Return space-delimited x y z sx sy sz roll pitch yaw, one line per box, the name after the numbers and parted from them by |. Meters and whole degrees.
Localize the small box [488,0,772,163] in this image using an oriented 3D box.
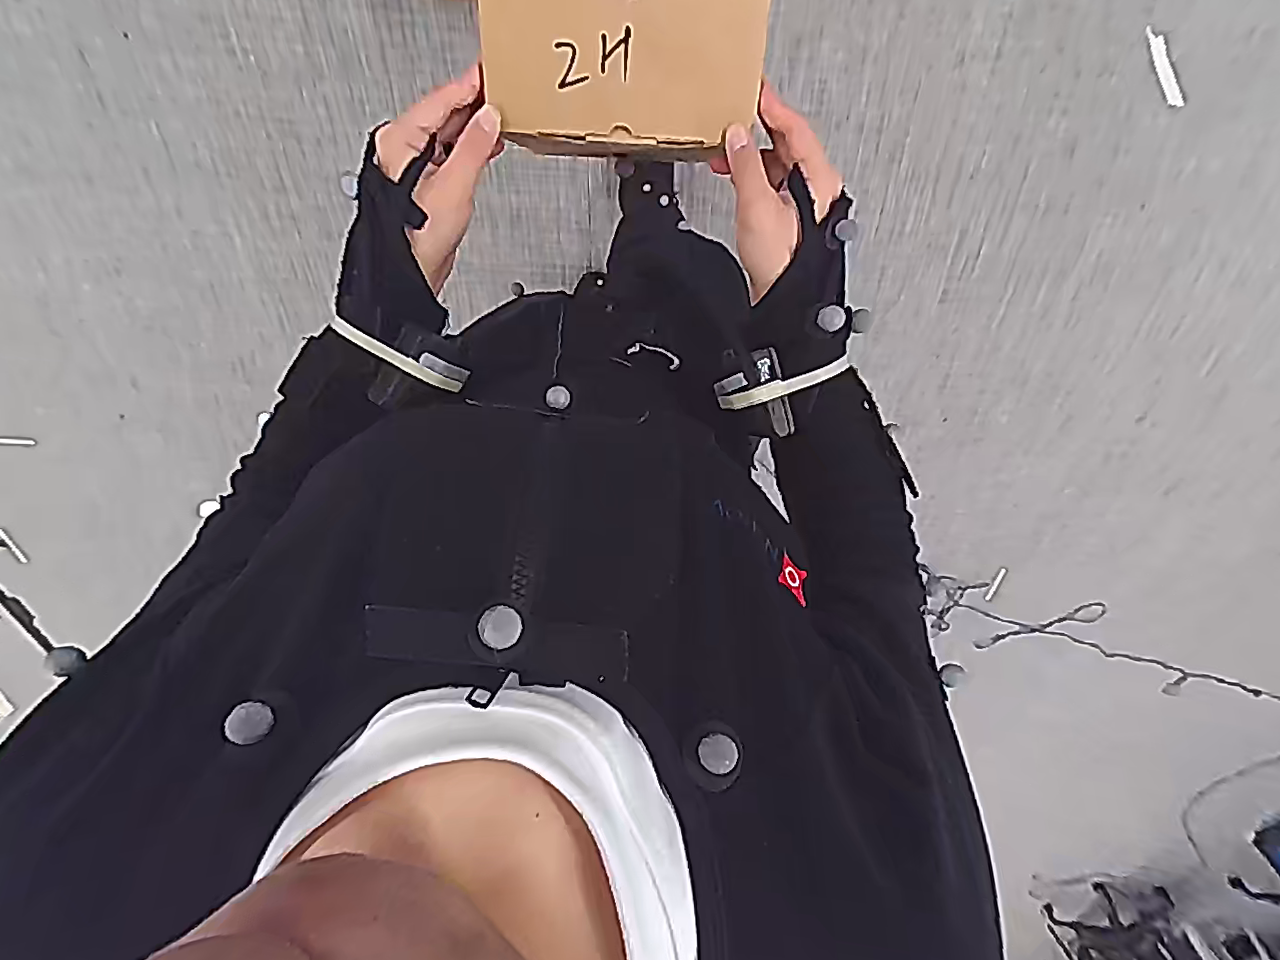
-0.005 -0.329 0.372 0.168 0.176 0.179 3 117 -1 | small box
